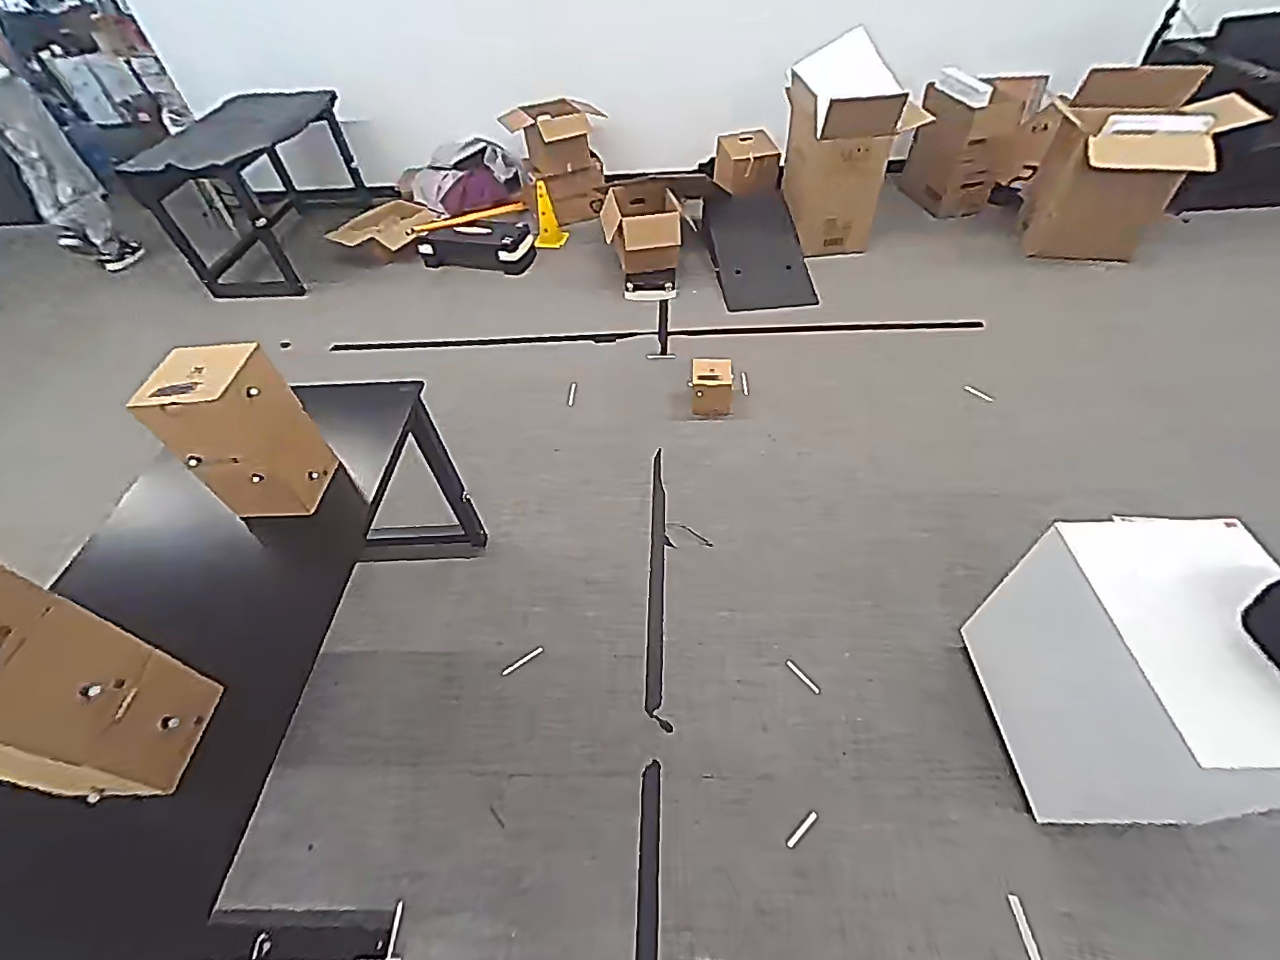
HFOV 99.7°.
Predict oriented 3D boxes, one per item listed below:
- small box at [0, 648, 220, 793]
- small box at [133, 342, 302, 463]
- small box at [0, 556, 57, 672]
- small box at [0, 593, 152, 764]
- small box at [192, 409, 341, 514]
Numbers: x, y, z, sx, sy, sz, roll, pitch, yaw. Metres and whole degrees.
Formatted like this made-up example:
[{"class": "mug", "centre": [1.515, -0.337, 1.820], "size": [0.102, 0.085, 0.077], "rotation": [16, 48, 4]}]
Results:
[{"class": "small box", "centre": [-0.805, 0.369, 0.827], "size": [0.179, 0.176, 0.168], "rotation": [-2, 49, 2]}, {"class": "small box", "centre": [-0.802, -0.145, 1.054], "size": [0.168, 0.176, 0.179], "rotation": [-4, 48, 1]}, {"class": "small box", "centre": [-0.826, 0.154, 0.580], "size": [0.179, 0.176, 0.168], "rotation": [-2, 50, 2]}, {"class": "small box", "centre": [-0.817, 0.261, 0.702], "size": [0.179, 0.176, 0.168], "rotation": [-2, 50, 3]}, {"class": "small box", "centre": [-0.799, -0.037, 1.178], "size": [0.179, 0.176, 0.168], "rotation": [-1, 49, 3]}]
